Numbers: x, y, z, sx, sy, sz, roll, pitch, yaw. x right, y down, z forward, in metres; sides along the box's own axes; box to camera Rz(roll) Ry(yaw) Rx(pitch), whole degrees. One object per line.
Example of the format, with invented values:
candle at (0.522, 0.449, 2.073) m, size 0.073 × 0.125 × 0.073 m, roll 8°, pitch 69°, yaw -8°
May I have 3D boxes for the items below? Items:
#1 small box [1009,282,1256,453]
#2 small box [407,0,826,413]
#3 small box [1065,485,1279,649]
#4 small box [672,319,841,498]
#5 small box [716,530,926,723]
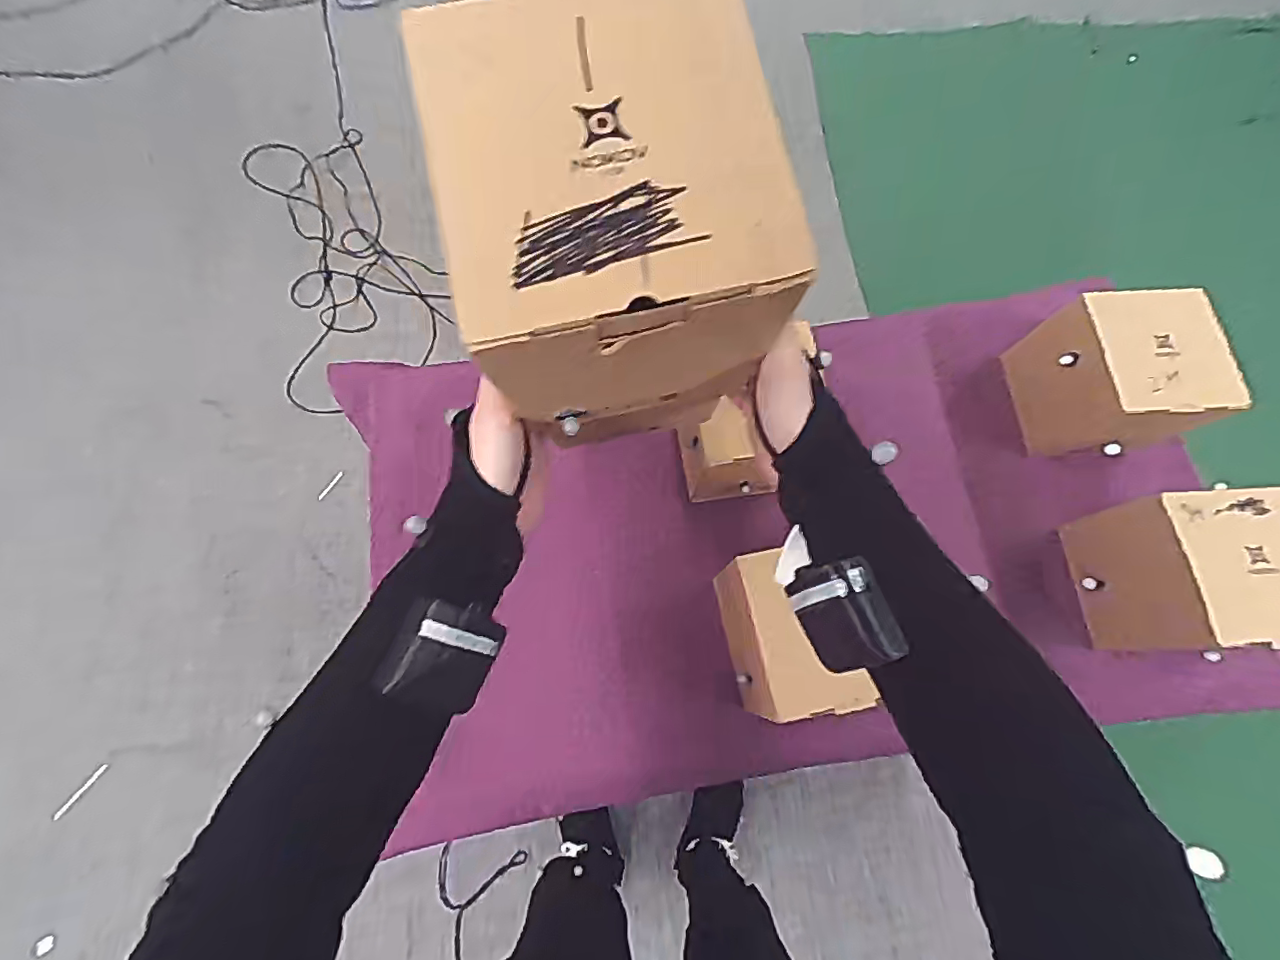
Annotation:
small box at (0.657, -0.149, 0.750) m, size 0.168 × 0.176 × 0.179 m, roll -3°, pitch 73°, yaw -1°
small box at (-0.013, -0.148, 0.325) m, size 0.168 × 0.176 × 0.179 m, roll -13°, pitch 82°, yaw -2°
small box at (0.684, 0.114, 0.669) m, size 0.168 × 0.176 × 0.179 m, roll -3°, pitch 72°, yaw -1°
small box at (0.141, -0.089, 0.727) m, size 0.168 × 0.176 × 0.179 m, roll -8°, pitch 74°, yaw -4°
small box at (0.197, 0.173, 0.646) m, size 0.168 × 0.176 × 0.179 m, roll -10°, pitch 72°, yaw -5°
